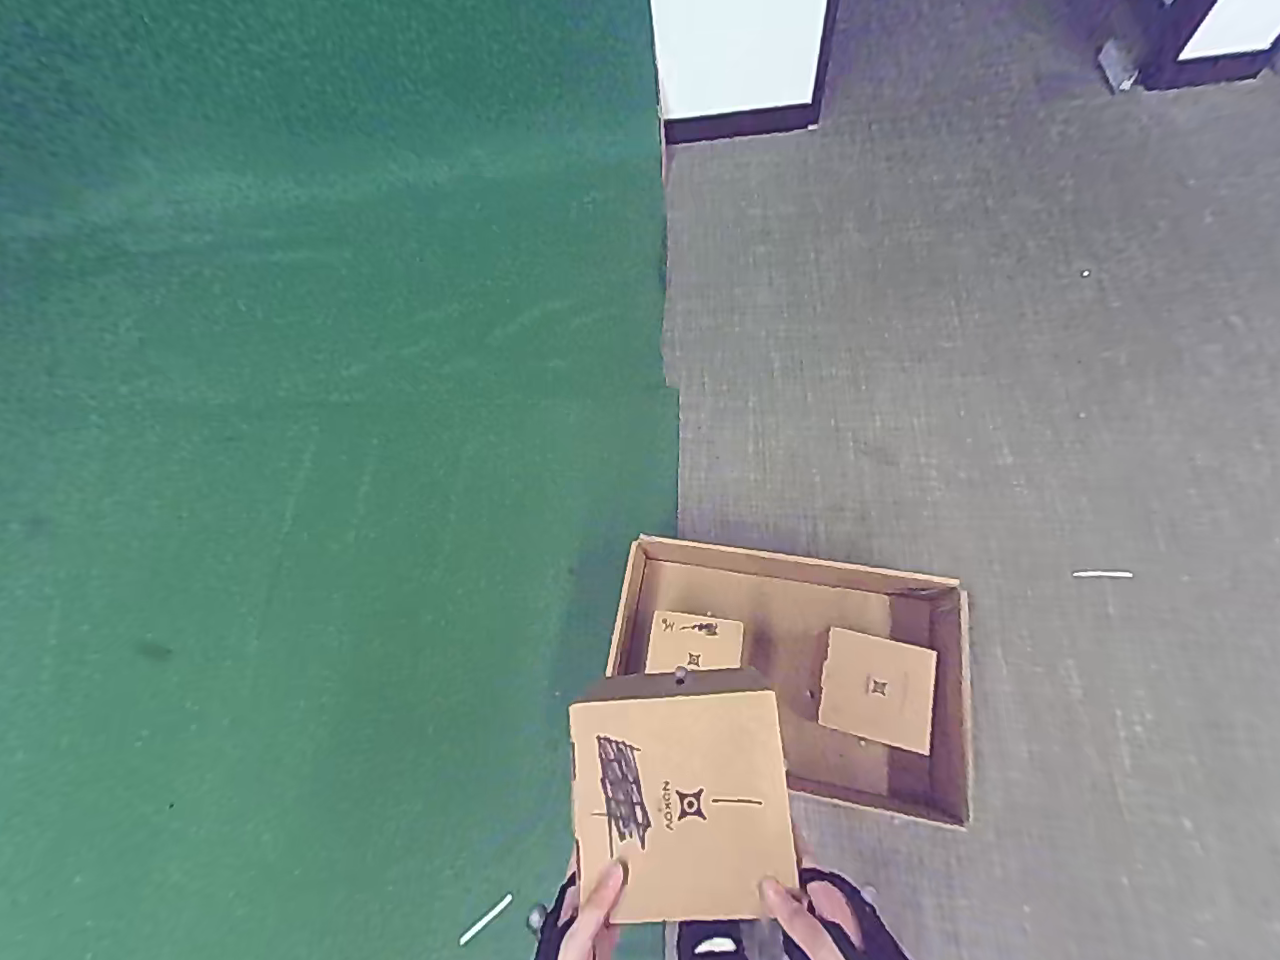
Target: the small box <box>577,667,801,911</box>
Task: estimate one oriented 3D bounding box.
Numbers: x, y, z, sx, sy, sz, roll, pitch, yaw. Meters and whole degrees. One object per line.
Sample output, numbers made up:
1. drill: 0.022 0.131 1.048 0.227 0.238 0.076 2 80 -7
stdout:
1. small box: 0.044 0.278 0.523 0.179 0.176 0.168 -5 77 4
